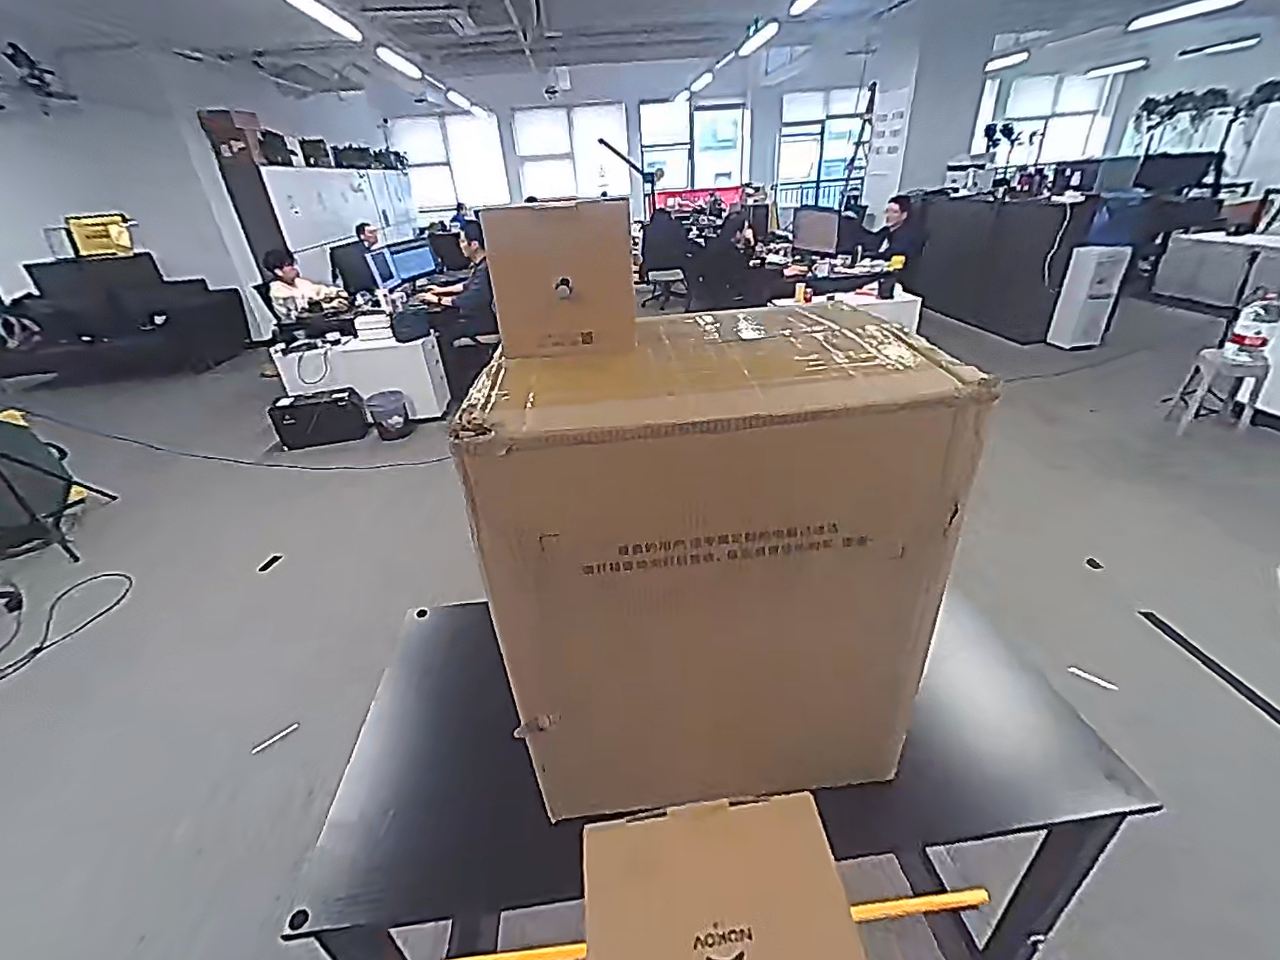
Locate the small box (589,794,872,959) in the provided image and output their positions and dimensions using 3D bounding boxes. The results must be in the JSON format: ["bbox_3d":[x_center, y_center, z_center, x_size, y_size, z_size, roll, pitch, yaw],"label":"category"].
[{"bbox_3d":[0.056,0.344,0.362,0.168,0.176,0.179,-6,41,-3],"label":"small box"}]

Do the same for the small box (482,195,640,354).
[{"bbox_3d":[-0.089,-0.262,0.693,0.168,0.176,0.179,-4,28,-2],"label":"small box"}]
